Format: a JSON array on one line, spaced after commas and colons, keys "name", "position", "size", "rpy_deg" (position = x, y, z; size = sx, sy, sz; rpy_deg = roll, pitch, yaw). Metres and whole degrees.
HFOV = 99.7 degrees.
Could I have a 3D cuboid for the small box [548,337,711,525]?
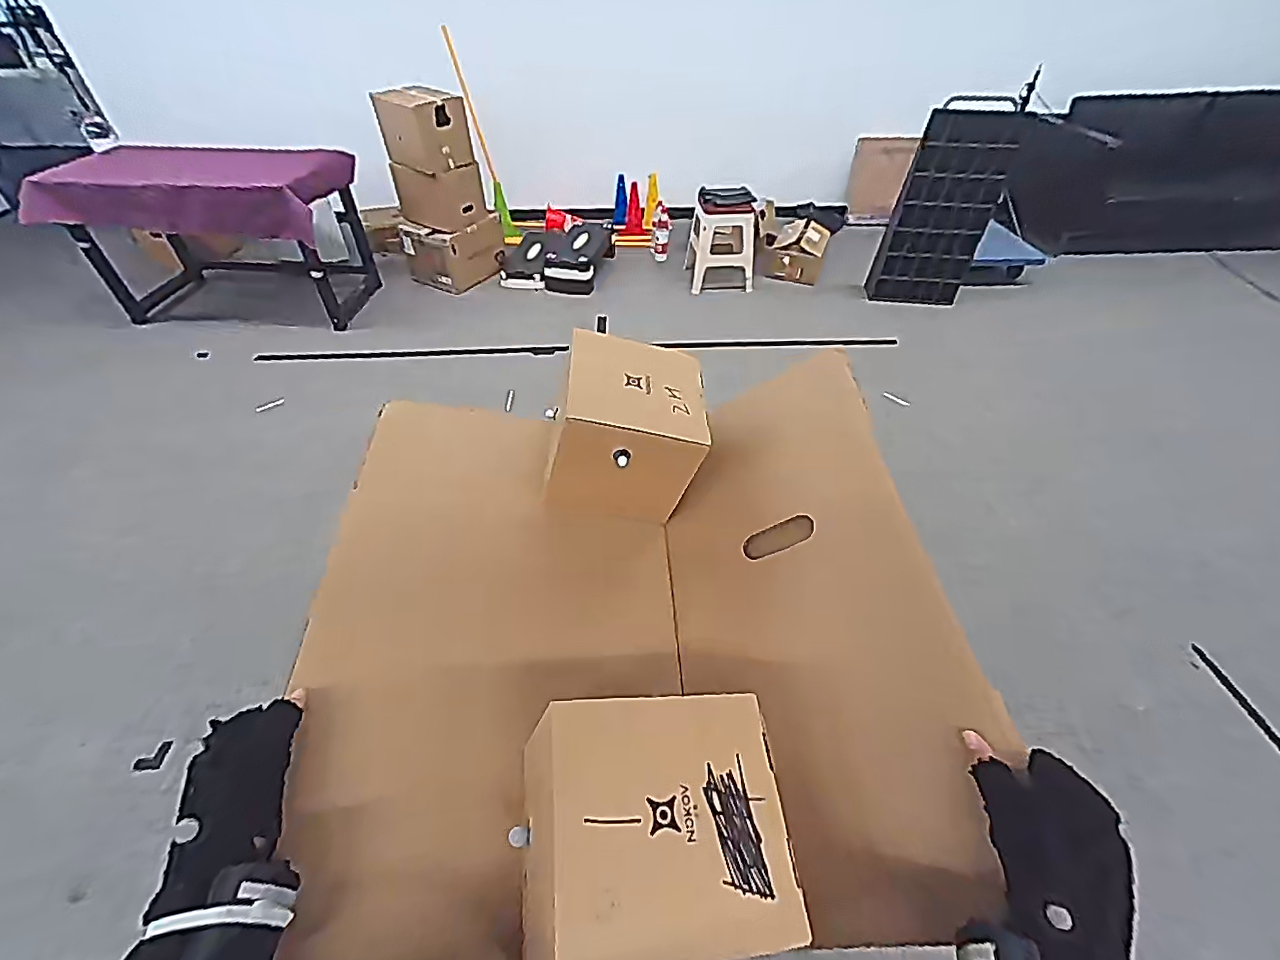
[{"name": "small box", "position": [-0.021, -0.058, 0.725], "size": [0.179, 0.176, 0.168], "rpy_deg": [11, 49, -13]}]
